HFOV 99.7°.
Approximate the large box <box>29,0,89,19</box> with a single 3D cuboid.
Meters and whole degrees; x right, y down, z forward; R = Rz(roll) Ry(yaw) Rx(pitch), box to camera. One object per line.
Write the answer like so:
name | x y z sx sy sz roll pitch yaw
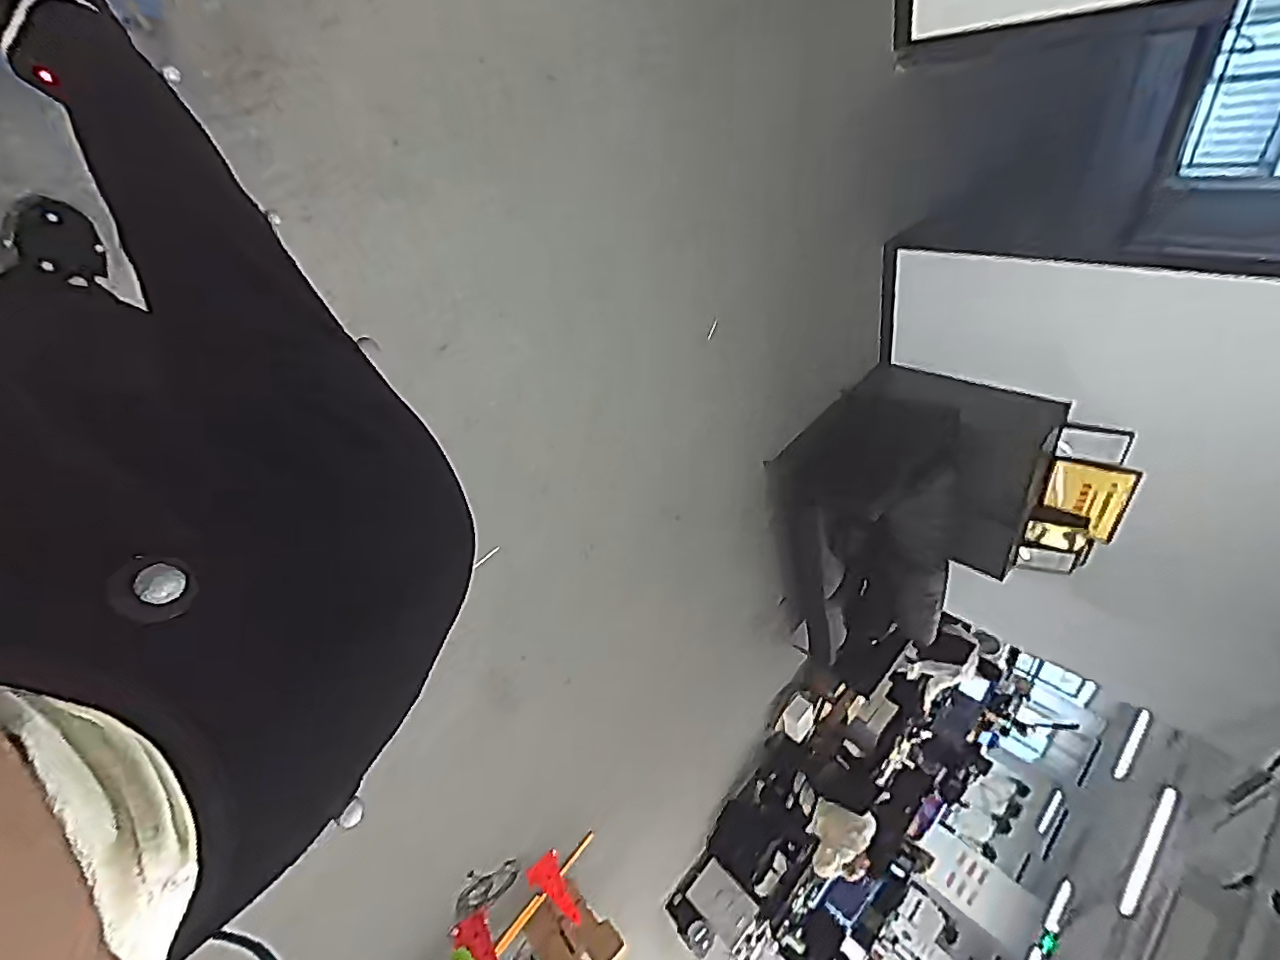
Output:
large box | -0.880 -0.870 0.625 0.320 0.320 0.408 -6 115 -45
